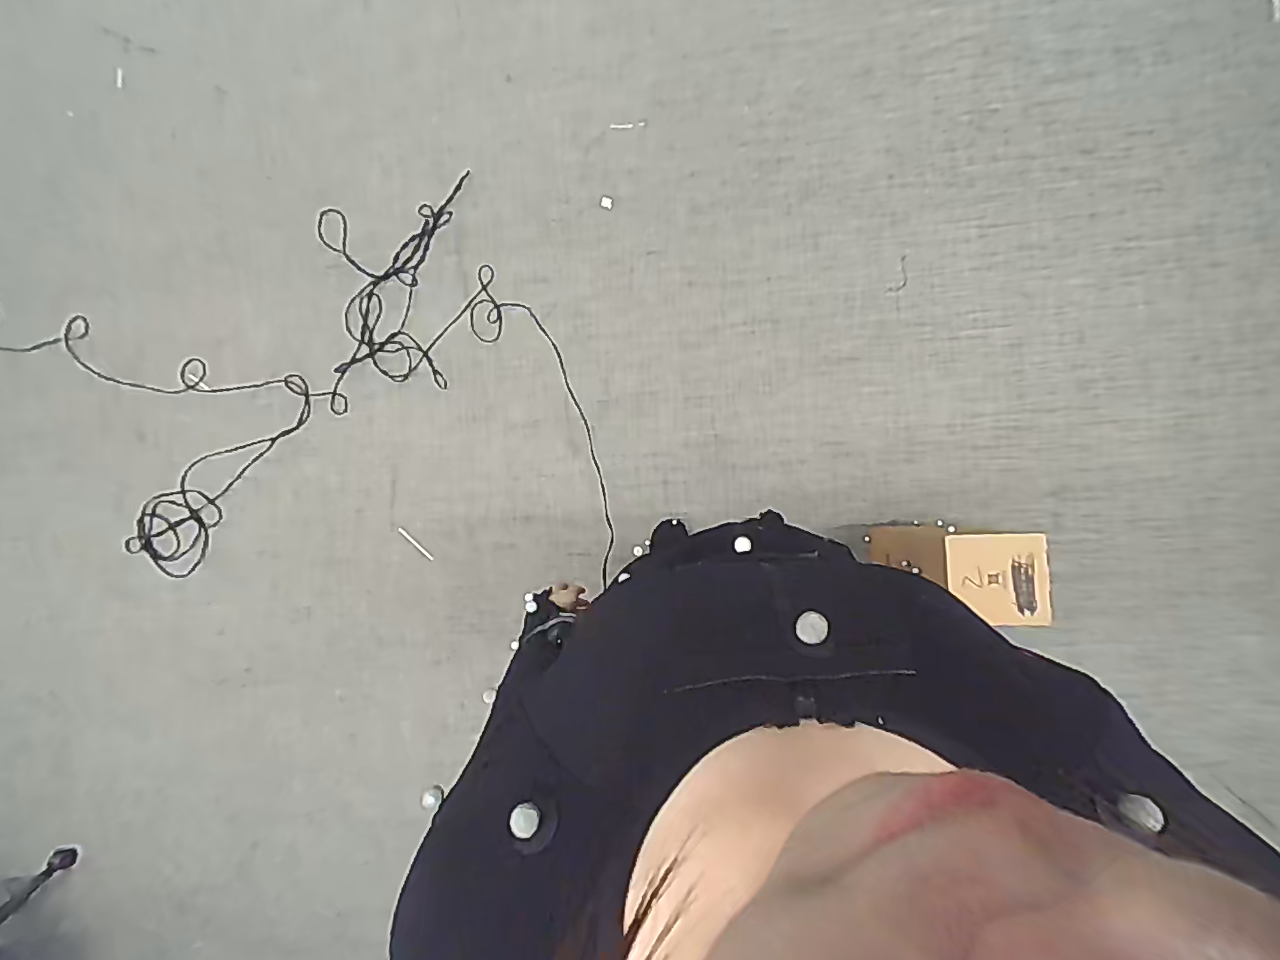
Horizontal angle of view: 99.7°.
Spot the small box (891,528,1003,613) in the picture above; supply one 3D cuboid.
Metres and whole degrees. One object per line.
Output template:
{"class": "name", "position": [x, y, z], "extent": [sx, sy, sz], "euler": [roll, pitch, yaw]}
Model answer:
{"class": "small box", "position": [0.677, 0.196, 1.211], "extent": [0.168, 0.176, 0.179], "euler": [-2, 87, 6]}

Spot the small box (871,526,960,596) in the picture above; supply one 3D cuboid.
{"class": "small box", "position": [0.699, 0.203, 1.374], "extent": [0.179, 0.176, 0.168], "euler": [-2, 86, 5]}
